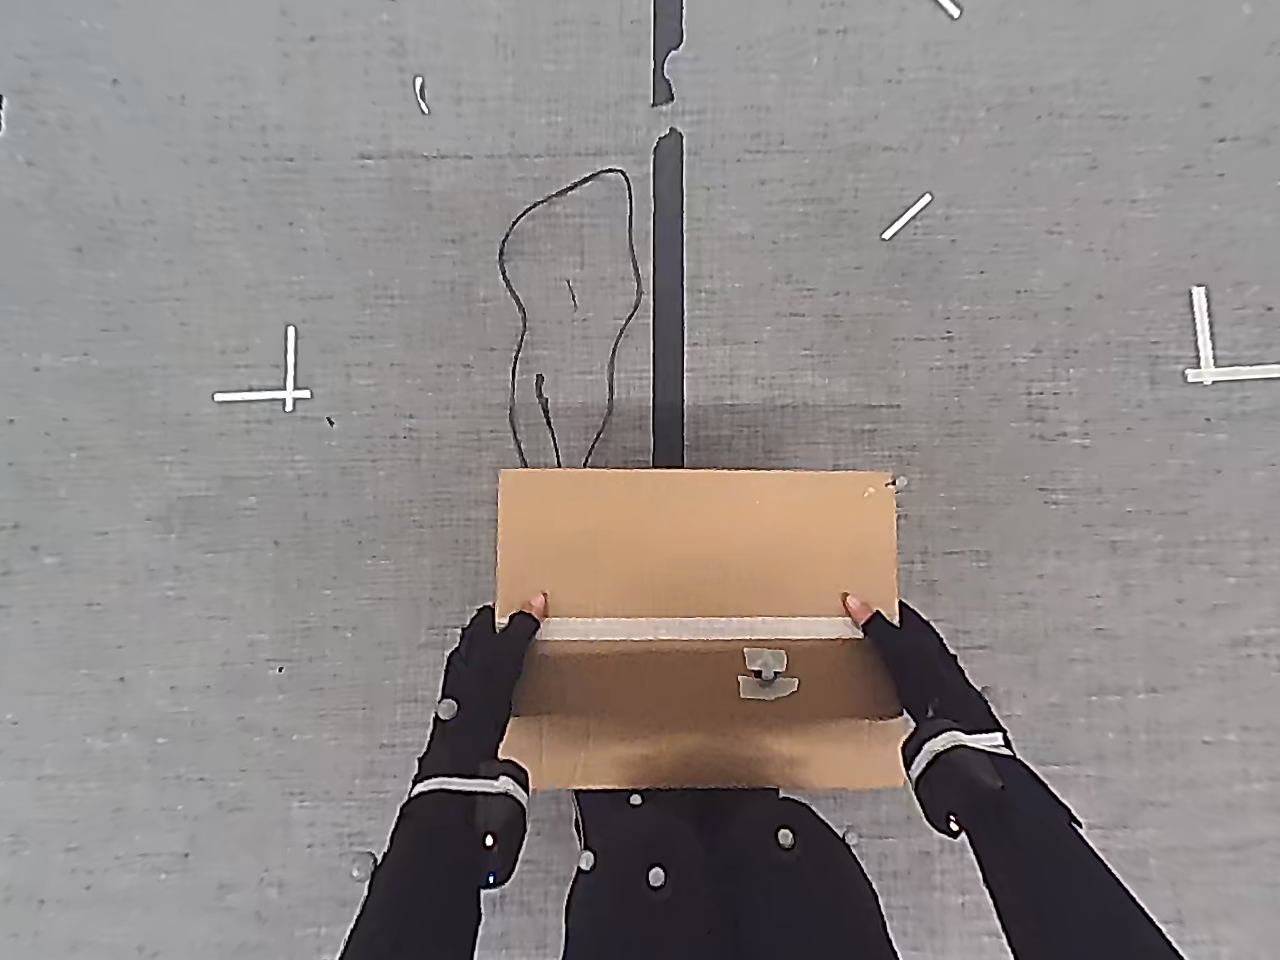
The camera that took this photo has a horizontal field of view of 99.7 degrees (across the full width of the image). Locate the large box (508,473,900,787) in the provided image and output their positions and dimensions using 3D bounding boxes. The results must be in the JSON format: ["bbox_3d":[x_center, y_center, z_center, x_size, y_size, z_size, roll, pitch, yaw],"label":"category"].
[{"bbox_3d":[0.059,0.164,0.703,0.408,0.320,0.320,0,85,-1],"label":"large box"}]
